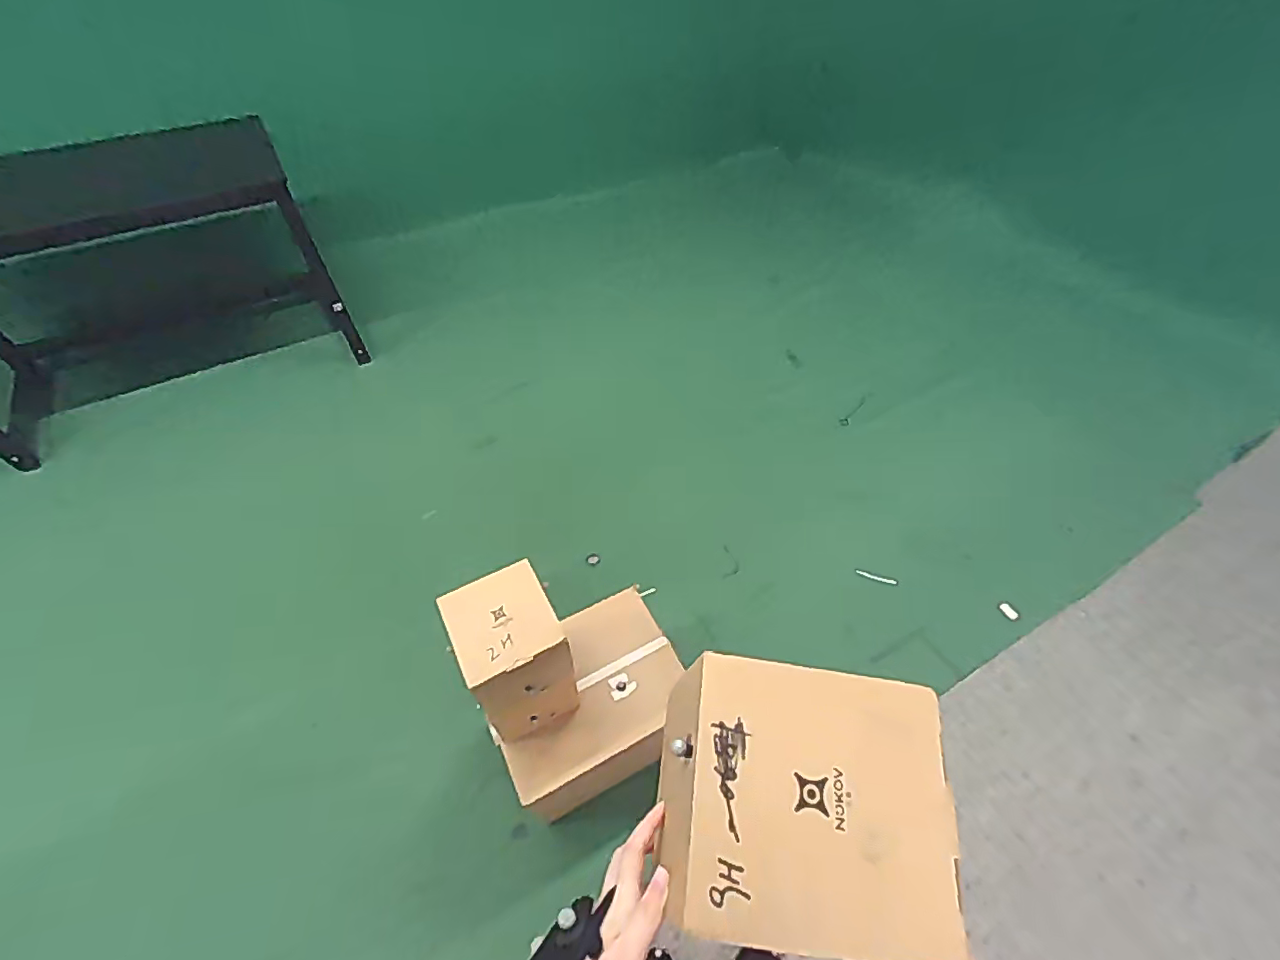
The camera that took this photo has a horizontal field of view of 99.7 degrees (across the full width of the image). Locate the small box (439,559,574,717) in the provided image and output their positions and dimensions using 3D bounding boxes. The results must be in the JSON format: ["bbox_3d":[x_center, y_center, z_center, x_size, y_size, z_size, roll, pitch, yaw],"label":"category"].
[{"bbox_3d":[-0.226,0.276,0.941,0.168,0.176,0.179,-23,55,-18],"label":"small box"}]

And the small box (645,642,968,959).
[{"bbox_3d":[0.109,0.240,0.418,0.179,0.176,0.168,11,60,-1],"label":"small box"}]

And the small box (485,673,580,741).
[{"bbox_3d":[-0.230,0.379,1.069,0.168,0.176,0.179,-22,54,-18],"label":"small box"}]

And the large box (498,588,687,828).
[{"bbox_3d":[-0.113,0.528,1.261,0.408,0.320,0.320,-22,55,-18],"label":"large box"}]
